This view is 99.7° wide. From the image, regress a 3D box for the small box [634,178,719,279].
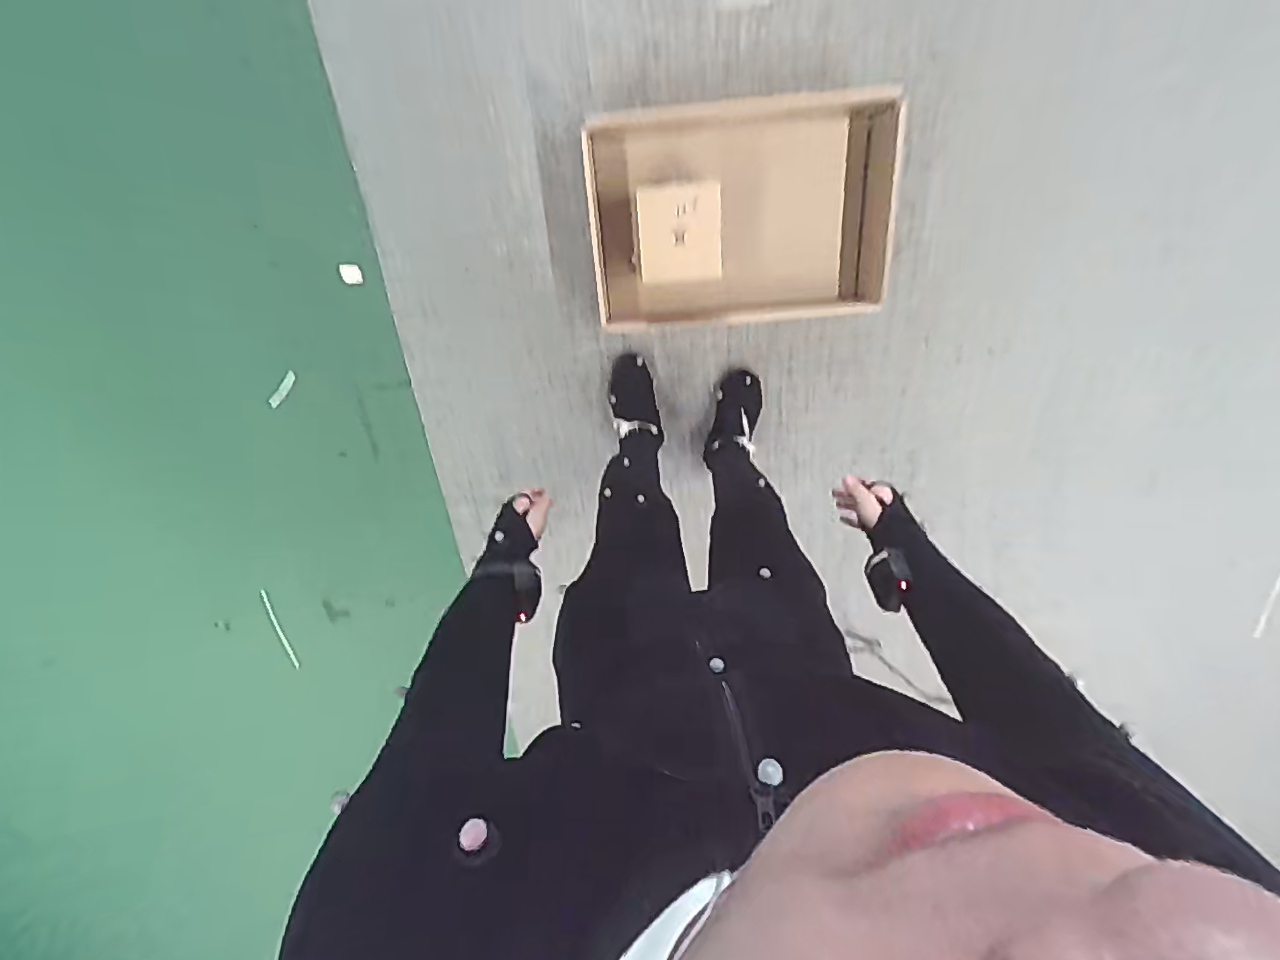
[{"bbox_3d":[0.075,-0.535,1.154,0.168,0.176,0.179,-5,115,0],"label":"small box"}]
